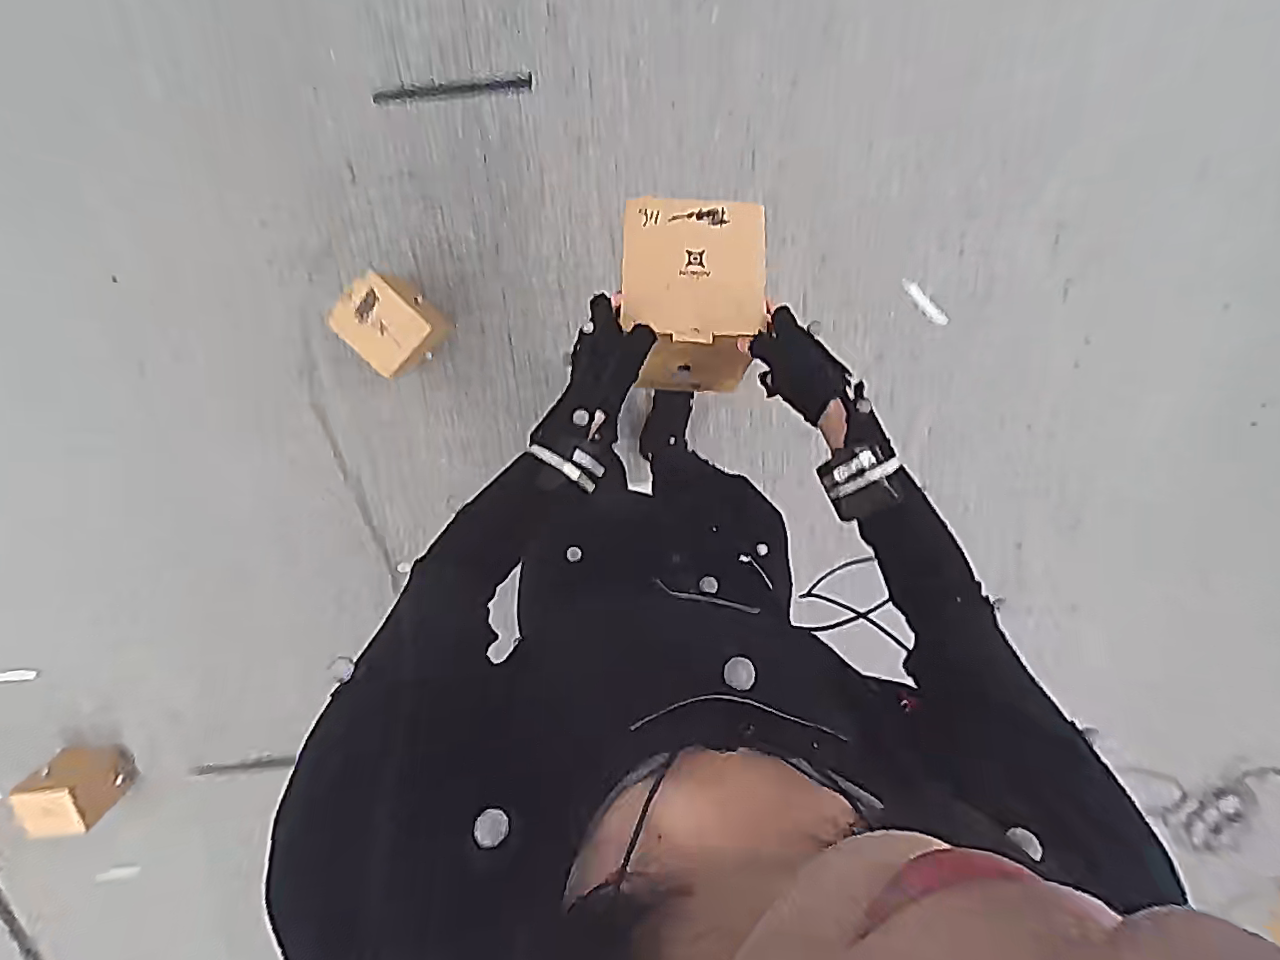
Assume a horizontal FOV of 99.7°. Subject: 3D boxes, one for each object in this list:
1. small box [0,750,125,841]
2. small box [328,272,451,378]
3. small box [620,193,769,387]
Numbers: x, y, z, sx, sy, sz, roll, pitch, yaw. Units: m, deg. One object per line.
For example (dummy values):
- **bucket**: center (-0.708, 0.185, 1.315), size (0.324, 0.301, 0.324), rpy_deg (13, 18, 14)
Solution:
- **small box**: center (-1.738, 0.949, 1.635), size (0.179, 0.176, 0.168), rpy_deg (-5, 107, -2)
- **small box**: center (-0.589, -0.369, 1.295), size (0.168, 0.176, 0.179), rpy_deg (-42, 104, 10)
- **small box**: center (0.063, -0.227, 0.683), size (0.168, 0.176, 0.179), rpy_deg (2, 79, -1)
